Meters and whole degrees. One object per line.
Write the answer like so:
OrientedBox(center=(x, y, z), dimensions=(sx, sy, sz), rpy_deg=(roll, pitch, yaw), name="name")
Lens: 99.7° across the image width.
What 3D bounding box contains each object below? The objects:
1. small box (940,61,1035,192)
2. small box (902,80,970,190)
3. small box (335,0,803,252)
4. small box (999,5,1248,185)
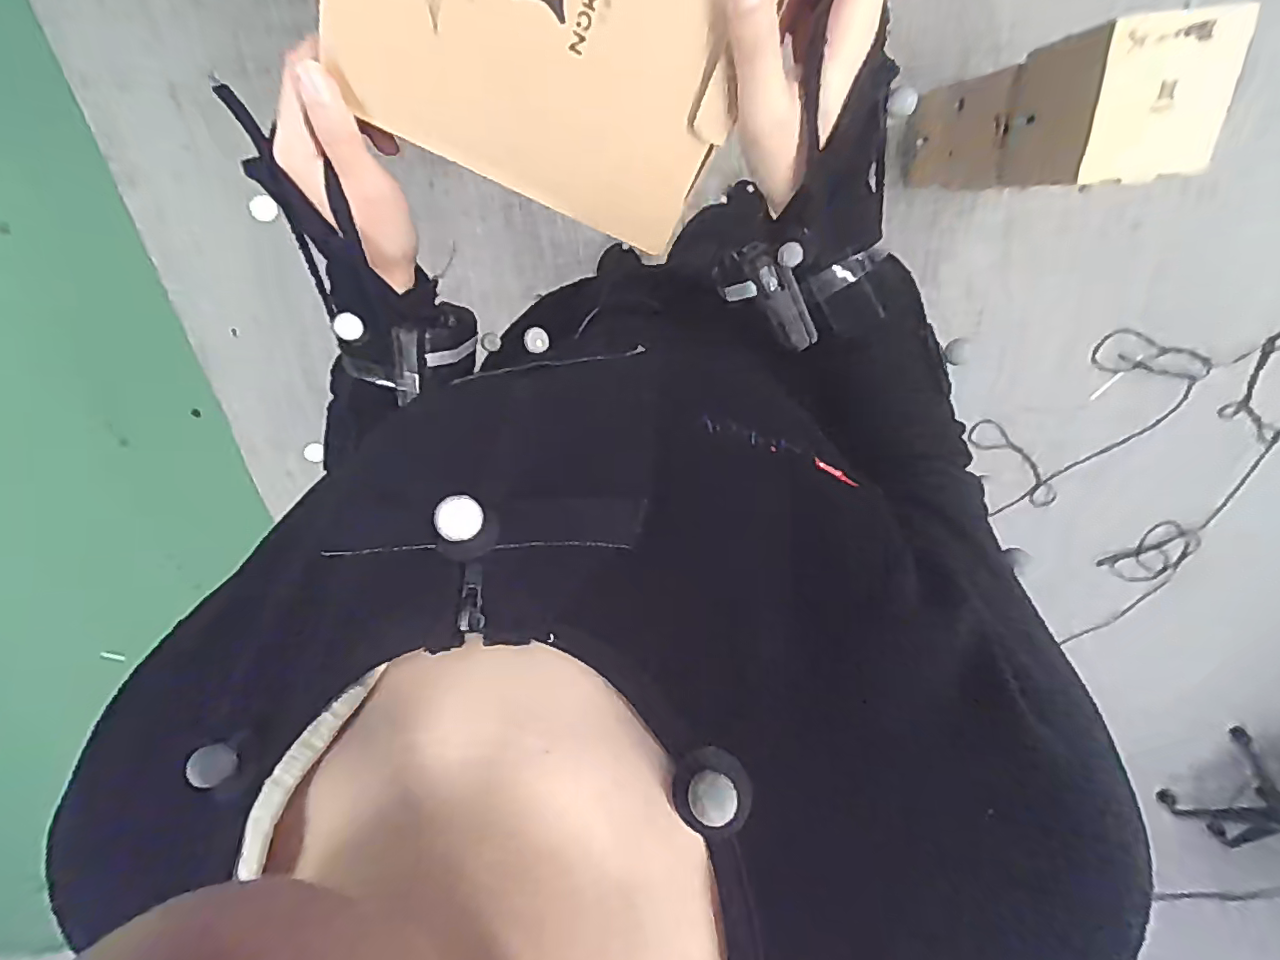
OrientedBox(center=(0.627, -0.578, 0.890), dimensions=(0.179, 0.176, 0.168), rpy_deg=(-6, 117, 1), name="small box")
OrientedBox(center=(0.636, -0.655, 1.035), dimensions=(0.179, 0.176, 0.168), rpy_deg=(-4, 116, 1), name="small box")
OrientedBox(center=(-0.025, -0.256, 0.277), dimensions=(0.179, 0.176, 0.168), rpy_deg=(19, 129, -16), name="small box")
OrientedBox(center=(0.634, -0.510, 0.741), dimensions=(0.168, 0.176, 0.179), rpy_deg=(-5, 117, 1), name="small box")
